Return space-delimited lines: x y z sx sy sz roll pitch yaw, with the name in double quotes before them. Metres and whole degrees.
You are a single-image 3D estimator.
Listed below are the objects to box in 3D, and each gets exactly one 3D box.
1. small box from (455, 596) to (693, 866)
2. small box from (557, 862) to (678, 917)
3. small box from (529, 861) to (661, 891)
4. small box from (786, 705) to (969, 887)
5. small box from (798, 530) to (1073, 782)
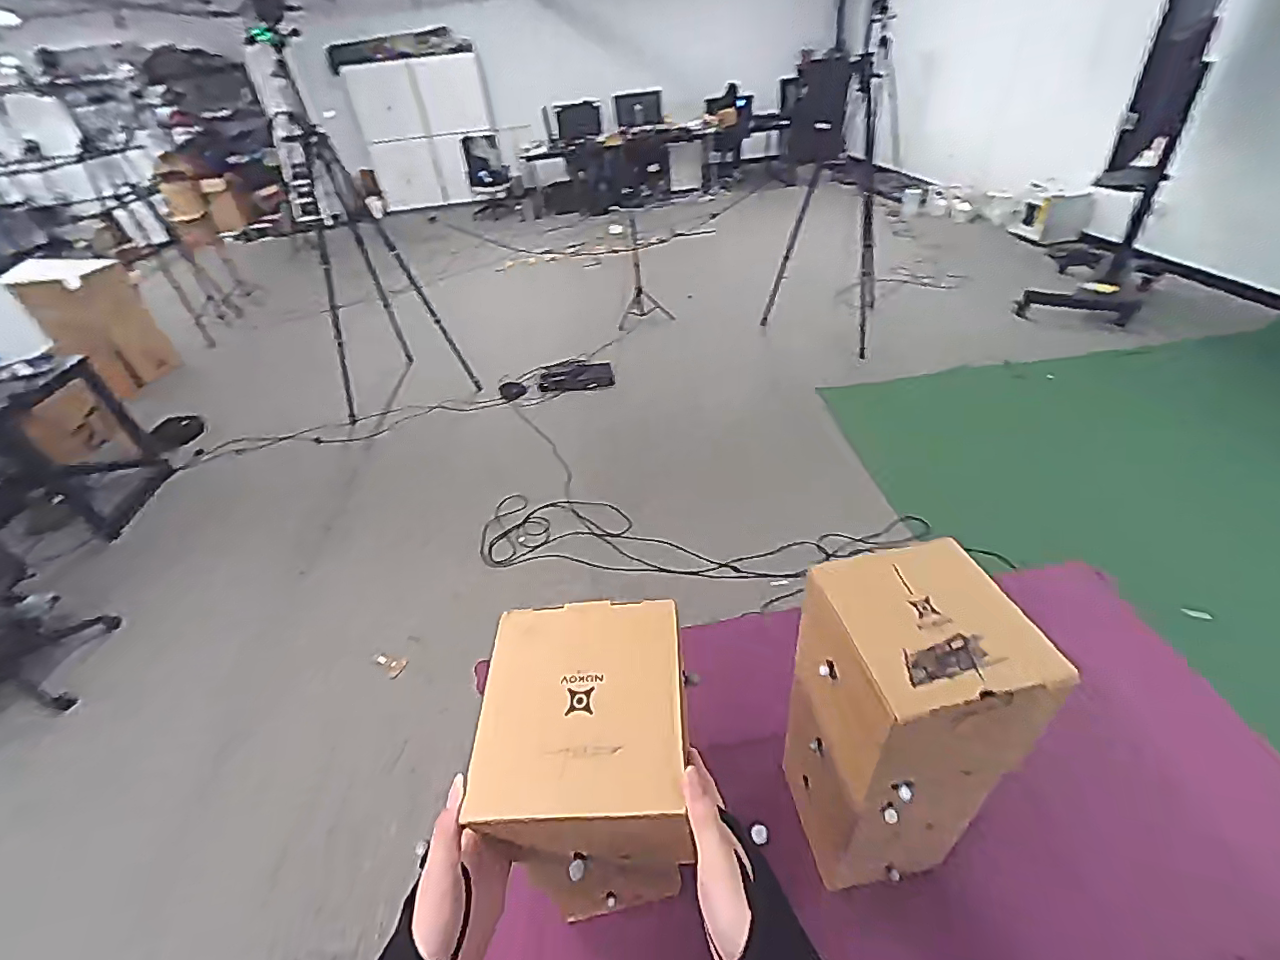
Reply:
"small box" -0.041 0.227 0.490 0.168 0.176 0.179 -5 45 5
"small box" -0.046 0.477 0.771 0.168 0.176 0.179 -12 39 -6
"small box" -0.061 0.358 0.660 0.168 0.176 0.179 -11 38 -4
"small box" 0.315 0.433 0.765 0.168 0.176 0.179 -11 38 -3
"small box" 0.276 0.183 0.556 0.168 0.176 0.179 -11 37 -4
